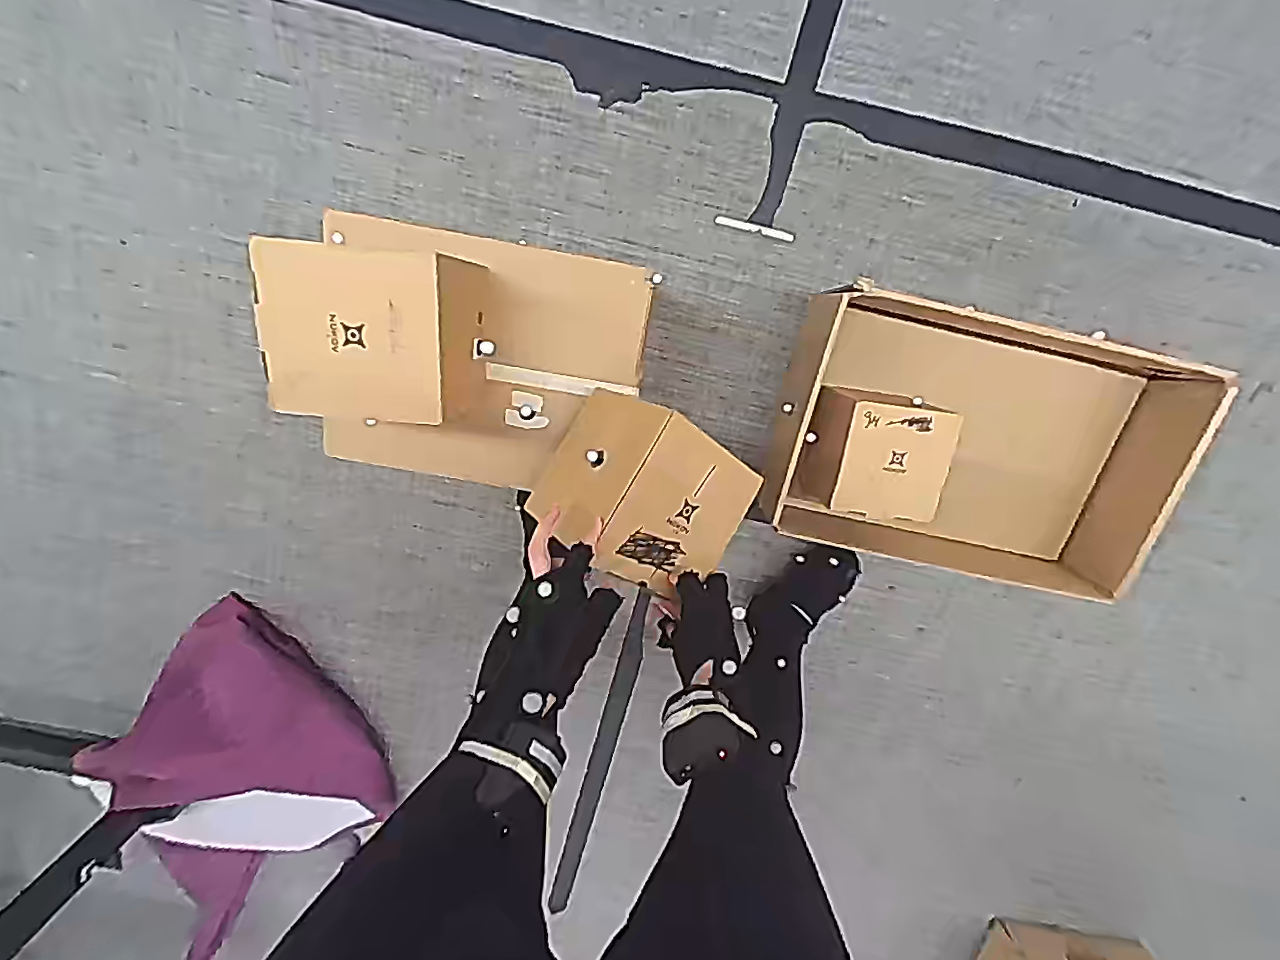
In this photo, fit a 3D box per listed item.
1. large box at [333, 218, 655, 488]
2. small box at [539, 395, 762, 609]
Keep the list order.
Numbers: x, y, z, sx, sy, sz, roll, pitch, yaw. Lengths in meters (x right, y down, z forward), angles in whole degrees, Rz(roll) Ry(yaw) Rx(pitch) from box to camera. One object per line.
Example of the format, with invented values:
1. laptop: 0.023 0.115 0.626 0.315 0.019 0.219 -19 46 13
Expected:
1. large box: -0.200 -0.188 0.847 0.408 0.320 0.320 9 107 -3
2. small box: 0.003 0.020 0.642 0.168 0.176 0.179 32 86 -37
